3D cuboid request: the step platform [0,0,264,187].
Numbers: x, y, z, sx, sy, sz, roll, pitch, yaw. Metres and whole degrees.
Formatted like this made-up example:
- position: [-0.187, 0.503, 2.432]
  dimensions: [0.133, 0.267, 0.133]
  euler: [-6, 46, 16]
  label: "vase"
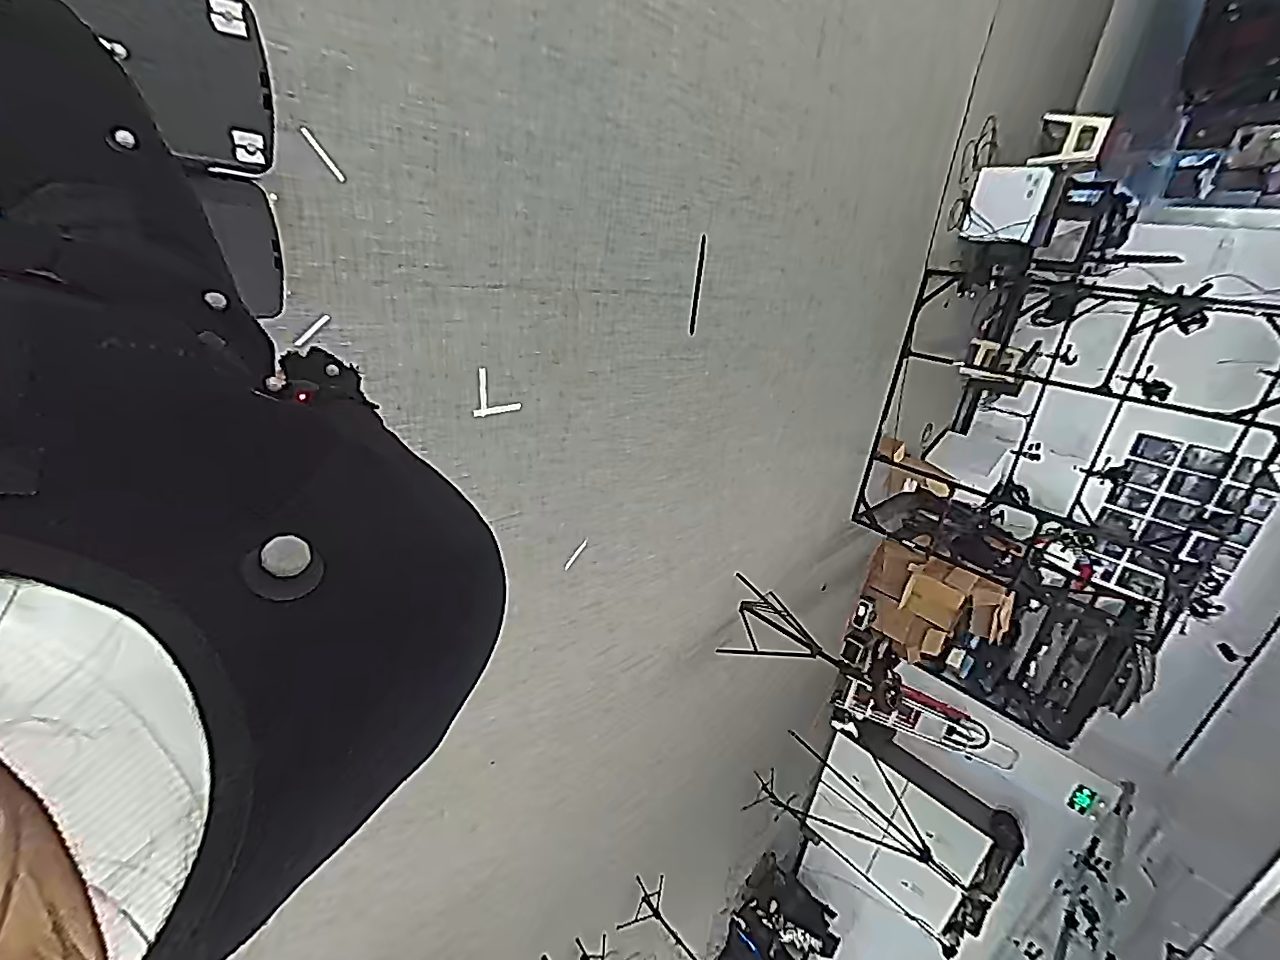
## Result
- position: [-0.999, -0.658, 0.834]
  dimensions: [0.684, 0.204, 0.286]
  euler: [-17, 124, -43]
  label: "step platform"
